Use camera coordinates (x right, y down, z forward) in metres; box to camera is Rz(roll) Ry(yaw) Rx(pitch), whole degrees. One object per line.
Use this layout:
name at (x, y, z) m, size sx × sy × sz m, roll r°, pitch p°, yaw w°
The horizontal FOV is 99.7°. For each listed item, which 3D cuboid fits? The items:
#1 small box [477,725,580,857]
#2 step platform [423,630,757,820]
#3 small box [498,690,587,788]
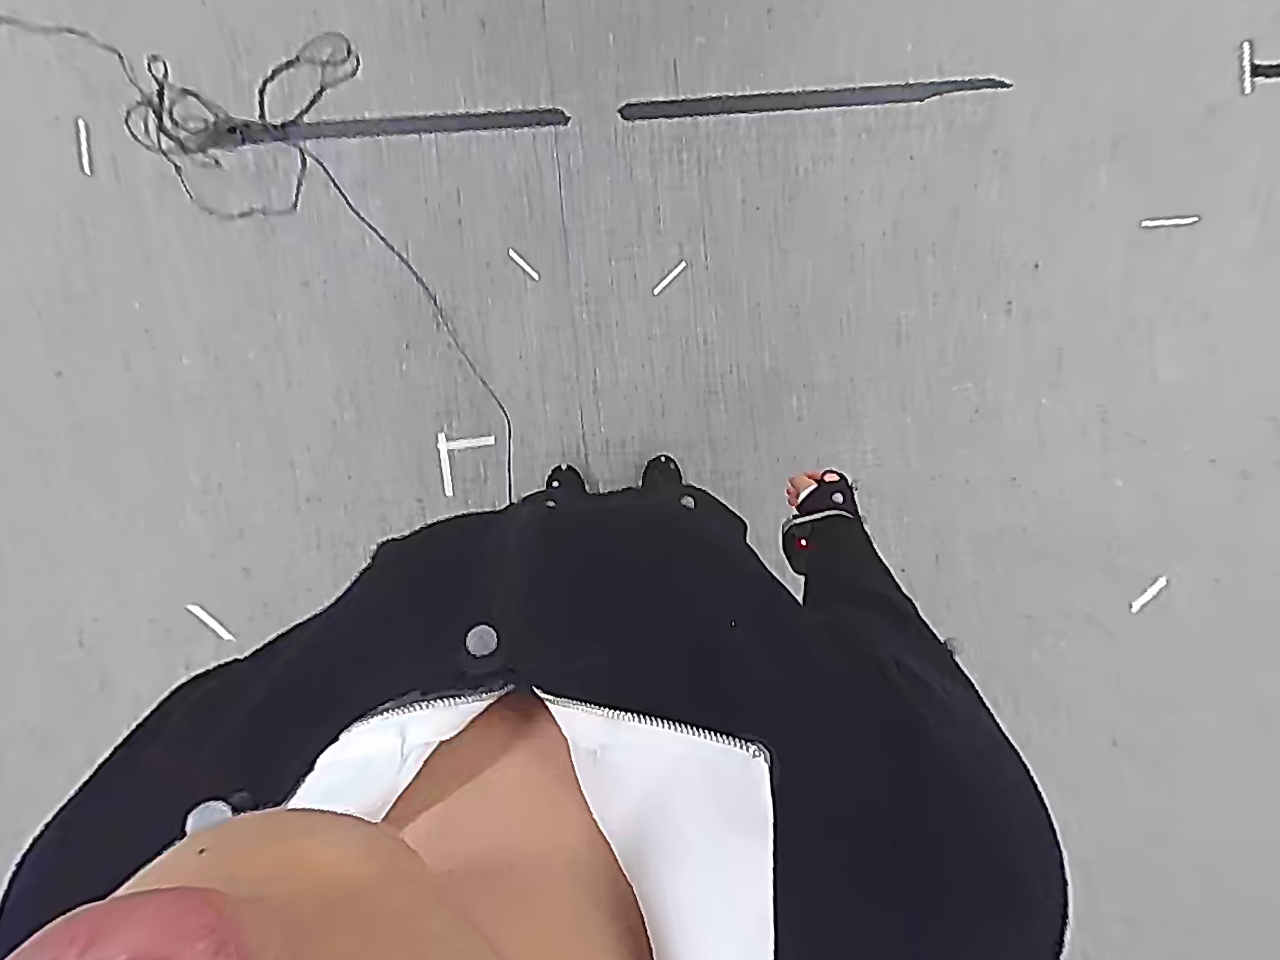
small box at (-0.213, 0.607, 1.075) m, size 0.179 × 0.176 × 0.168 m, roll -2°, pitch 93°, yaw -1°
step platform at (-0.101, 0.523, 1.199) m, size 0.684 × 0.204 × 0.286 m, roll -6°, pitch 93°, yaw 1°
small box at (-0.213, 0.584, 1.237) m, size 0.179 × 0.176 × 0.168 m, roll -4°, pitch 92°, yaw -1°
